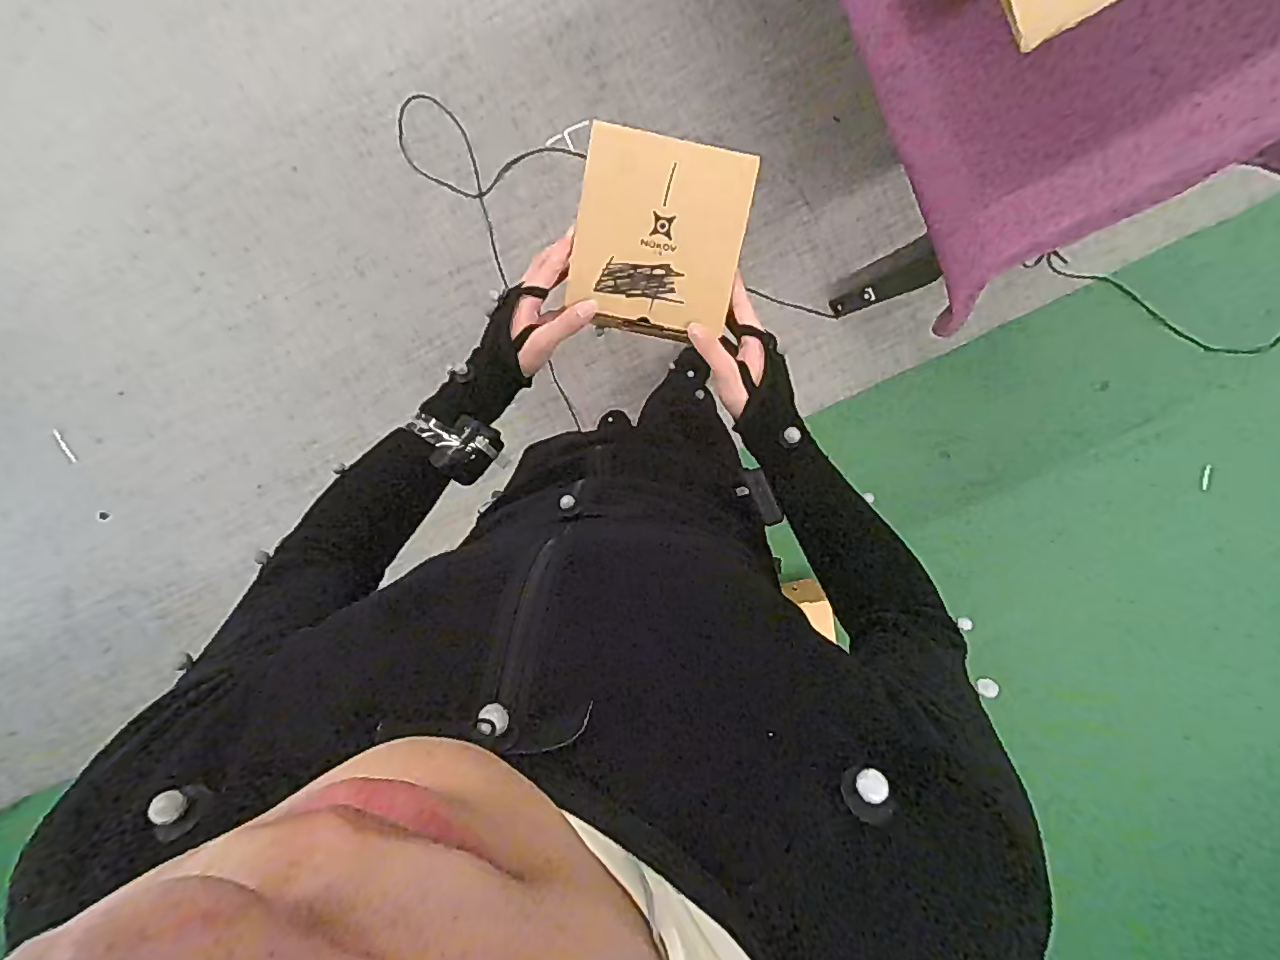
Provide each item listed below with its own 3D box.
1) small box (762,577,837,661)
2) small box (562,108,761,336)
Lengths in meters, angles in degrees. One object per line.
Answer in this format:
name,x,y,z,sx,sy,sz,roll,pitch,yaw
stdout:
small box,0.470,0.409,1.613,0.168,0.176,0.179,-11,99,2
small box,0.018,-0.262,0.598,0.168,0.176,0.179,11,101,-4
